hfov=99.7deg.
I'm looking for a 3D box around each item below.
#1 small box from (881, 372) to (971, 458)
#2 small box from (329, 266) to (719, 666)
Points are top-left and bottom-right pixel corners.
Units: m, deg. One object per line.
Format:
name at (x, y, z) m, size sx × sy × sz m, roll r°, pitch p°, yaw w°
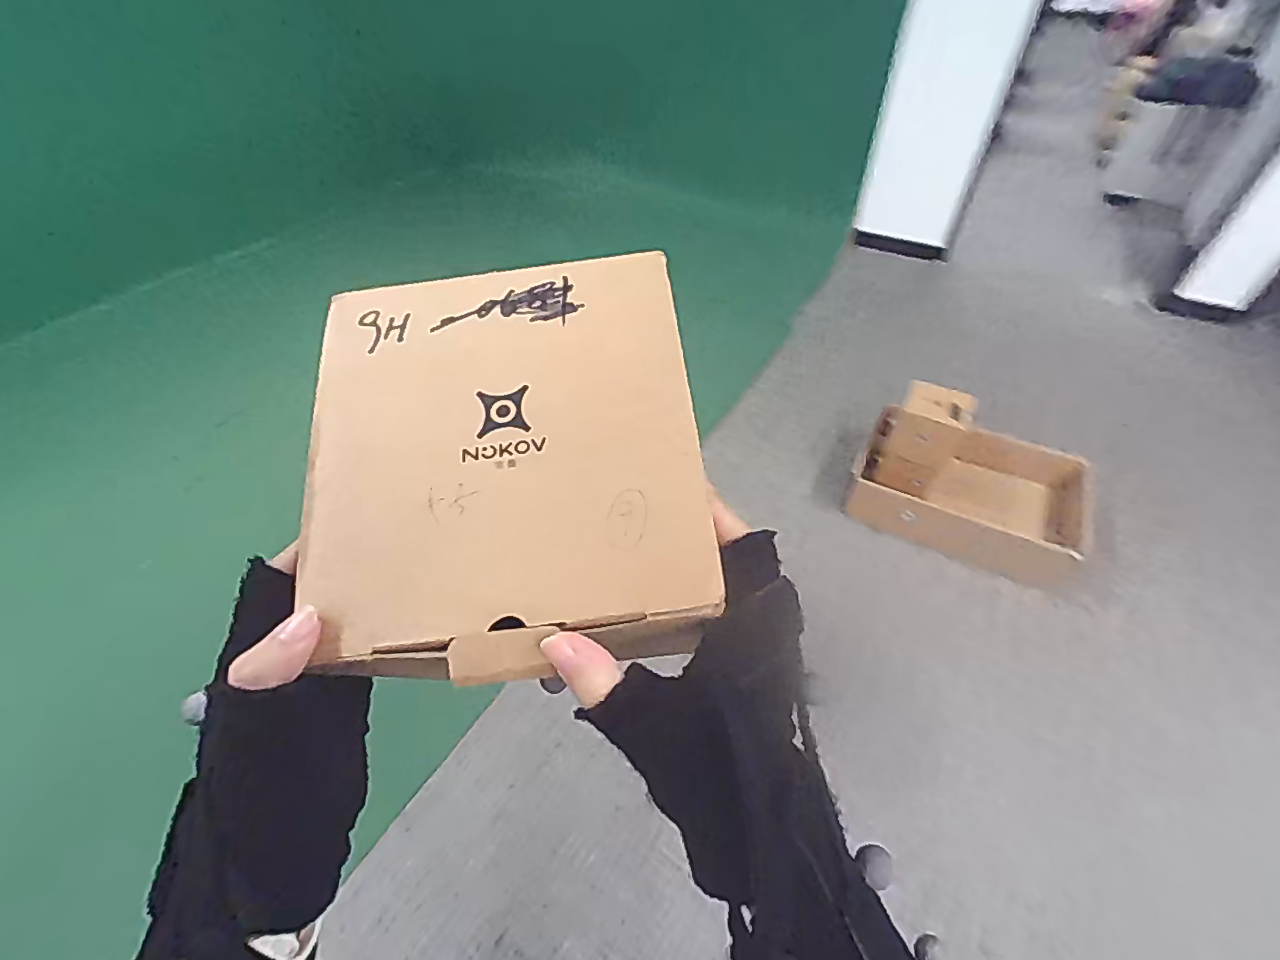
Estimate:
small box at (0.853, -0.191, 1.620) m, size 0.179 × 0.176 × 0.168 m, roll 23°, pitch 54°, yaw 21°
small box at (-0.050, 0.010, 0.320) m, size 0.168 × 0.176 × 0.179 m, roll -8°, pitch 70°, yaw 1°
